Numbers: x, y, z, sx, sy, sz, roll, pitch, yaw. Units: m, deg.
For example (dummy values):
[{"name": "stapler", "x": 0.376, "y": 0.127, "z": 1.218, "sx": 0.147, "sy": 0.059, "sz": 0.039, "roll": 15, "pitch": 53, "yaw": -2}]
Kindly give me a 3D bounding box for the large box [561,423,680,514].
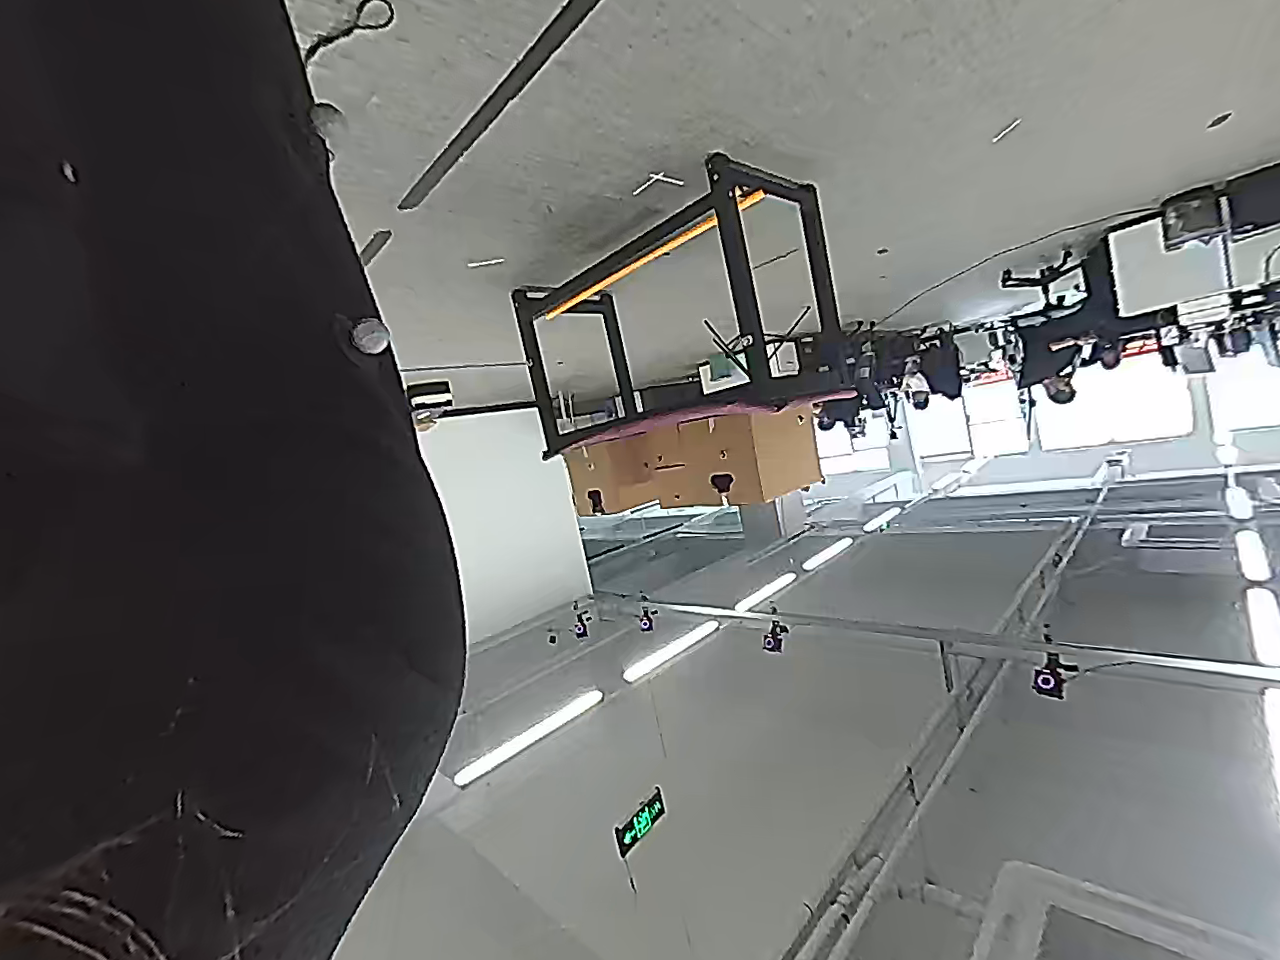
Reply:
[{"name": "large box", "x": -0.088, "y": -0.055, "z": 2.459, "sx": 0.408, "sy": 0.320, "sz": 0.320, "roll": -18, "pitch": -173, "yaw": -43}]
